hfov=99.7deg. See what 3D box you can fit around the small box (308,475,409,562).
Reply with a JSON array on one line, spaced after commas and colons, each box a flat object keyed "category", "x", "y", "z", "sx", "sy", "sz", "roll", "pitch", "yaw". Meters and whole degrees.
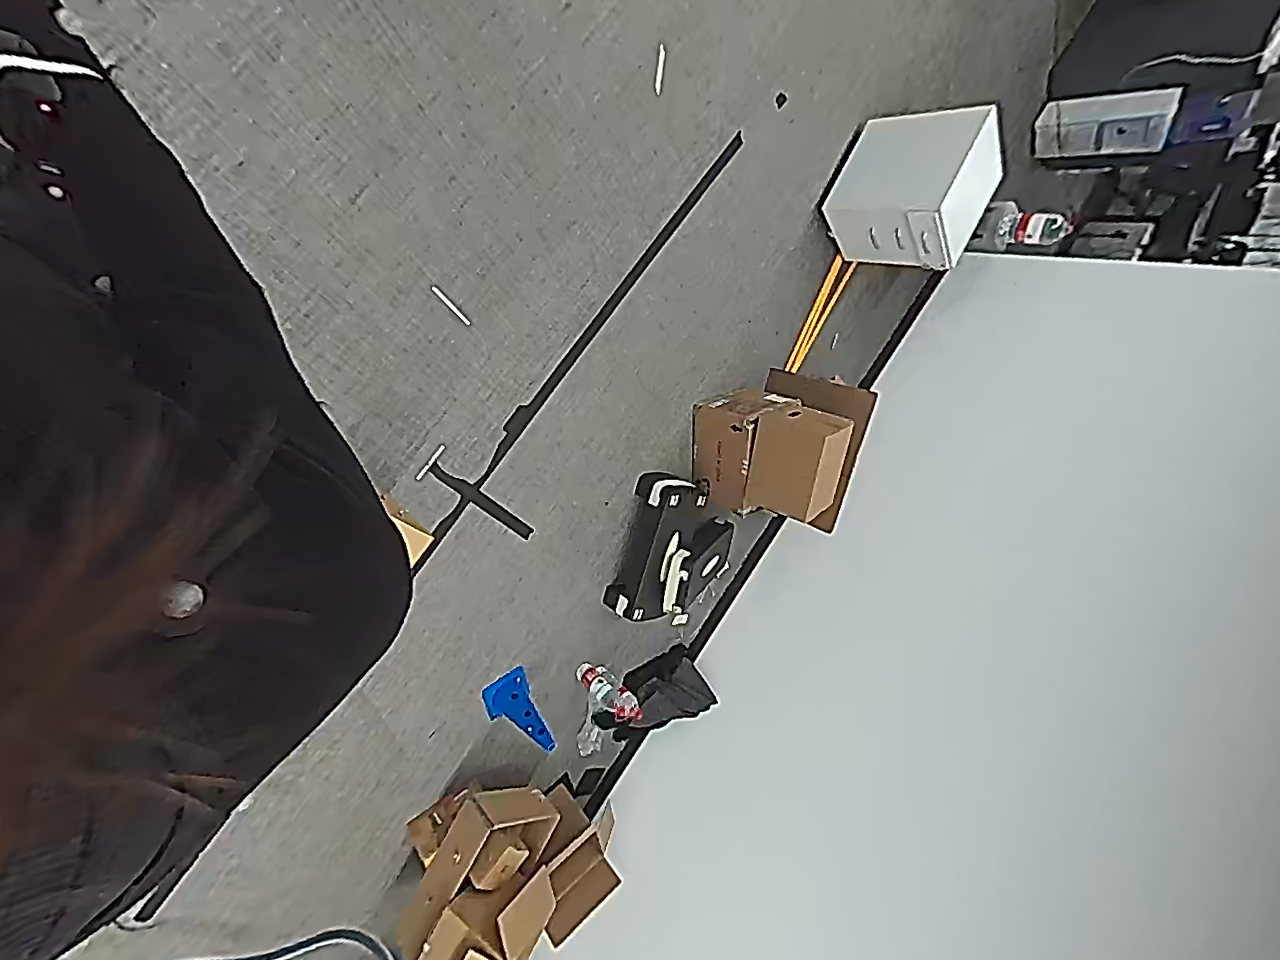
[{"category": "small box", "x": -0.815, "y": 0.108, "z": 1.562, "sx": 0.168, "sy": 0.176, "sz": 0.179, "roll": -56, "pitch": 137, "yaw": -7}]
